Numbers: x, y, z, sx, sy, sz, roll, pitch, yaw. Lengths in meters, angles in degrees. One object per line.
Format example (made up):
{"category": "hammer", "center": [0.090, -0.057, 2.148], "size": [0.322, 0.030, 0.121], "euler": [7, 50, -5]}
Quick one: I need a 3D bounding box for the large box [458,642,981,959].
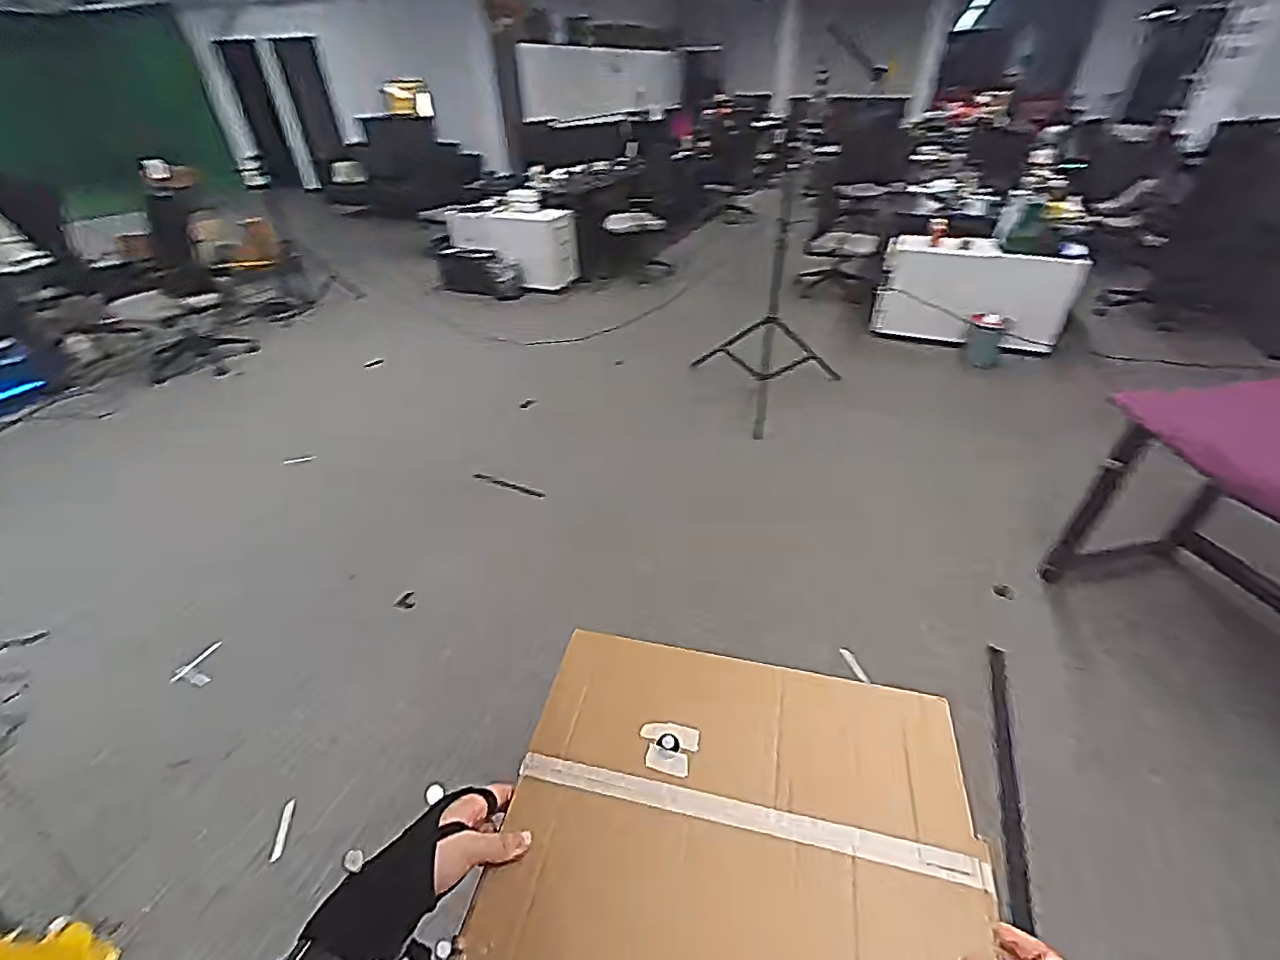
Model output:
{"category": "large box", "center": [0.091, 0.418, 0.590], "size": [0.408, 0.320, 0.320], "euler": [5, 40, 13]}
